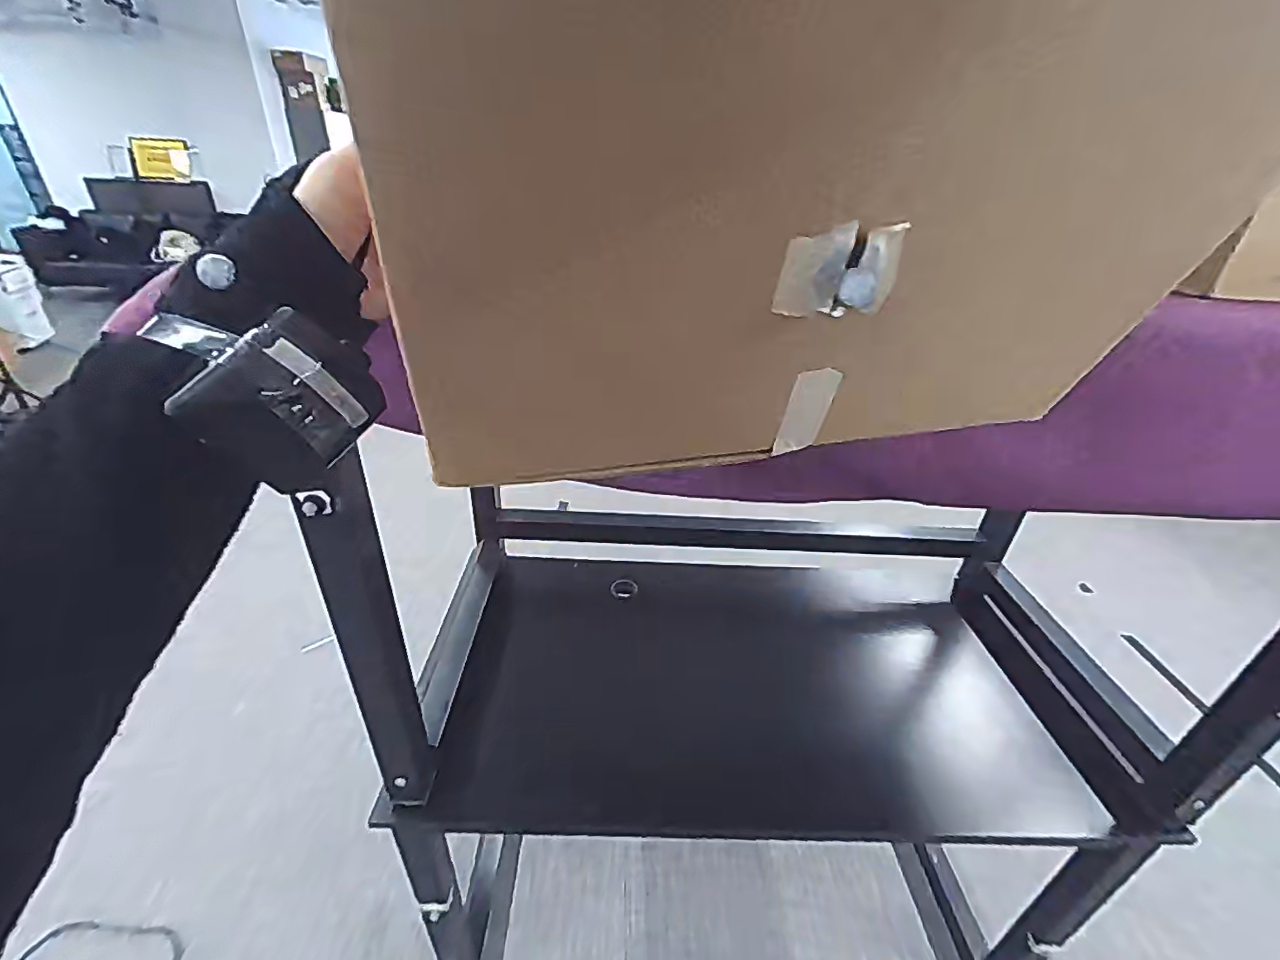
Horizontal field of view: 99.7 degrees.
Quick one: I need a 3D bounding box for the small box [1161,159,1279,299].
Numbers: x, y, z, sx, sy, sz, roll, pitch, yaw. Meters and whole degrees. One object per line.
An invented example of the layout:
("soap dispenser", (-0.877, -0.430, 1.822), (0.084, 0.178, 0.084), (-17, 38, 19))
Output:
("small box", (0.625, -0.280, 0.539), (0.179, 0.176, 0.168), (3, 29, -2))
